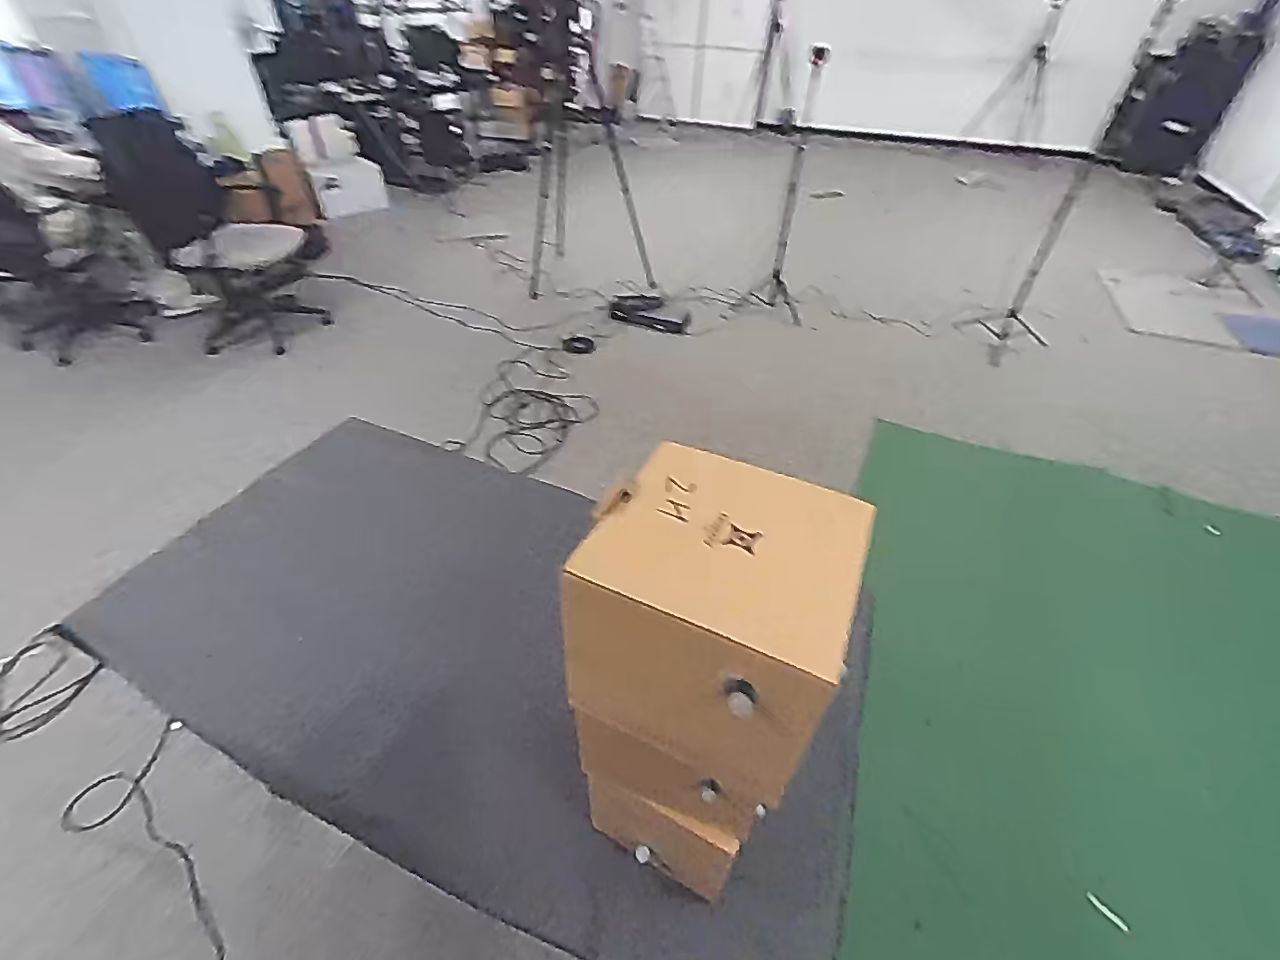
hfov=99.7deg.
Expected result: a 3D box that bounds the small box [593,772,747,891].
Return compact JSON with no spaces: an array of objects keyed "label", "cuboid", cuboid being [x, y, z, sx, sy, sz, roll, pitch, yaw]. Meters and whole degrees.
[{"label":"small box","cuboid":[0.051,0.332,0.639,0.168,0.176,0.179,20,44,21]}]

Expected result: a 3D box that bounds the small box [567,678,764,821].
[{"label":"small box","cuboid":[0.046,0.204,0.539,0.179,0.176,0.168,14,40,16]}]

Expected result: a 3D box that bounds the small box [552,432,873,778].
[{"label":"small box","cuboid":[0.054,0.093,0.415,0.179,0.176,0.168,18,41,19]}]
